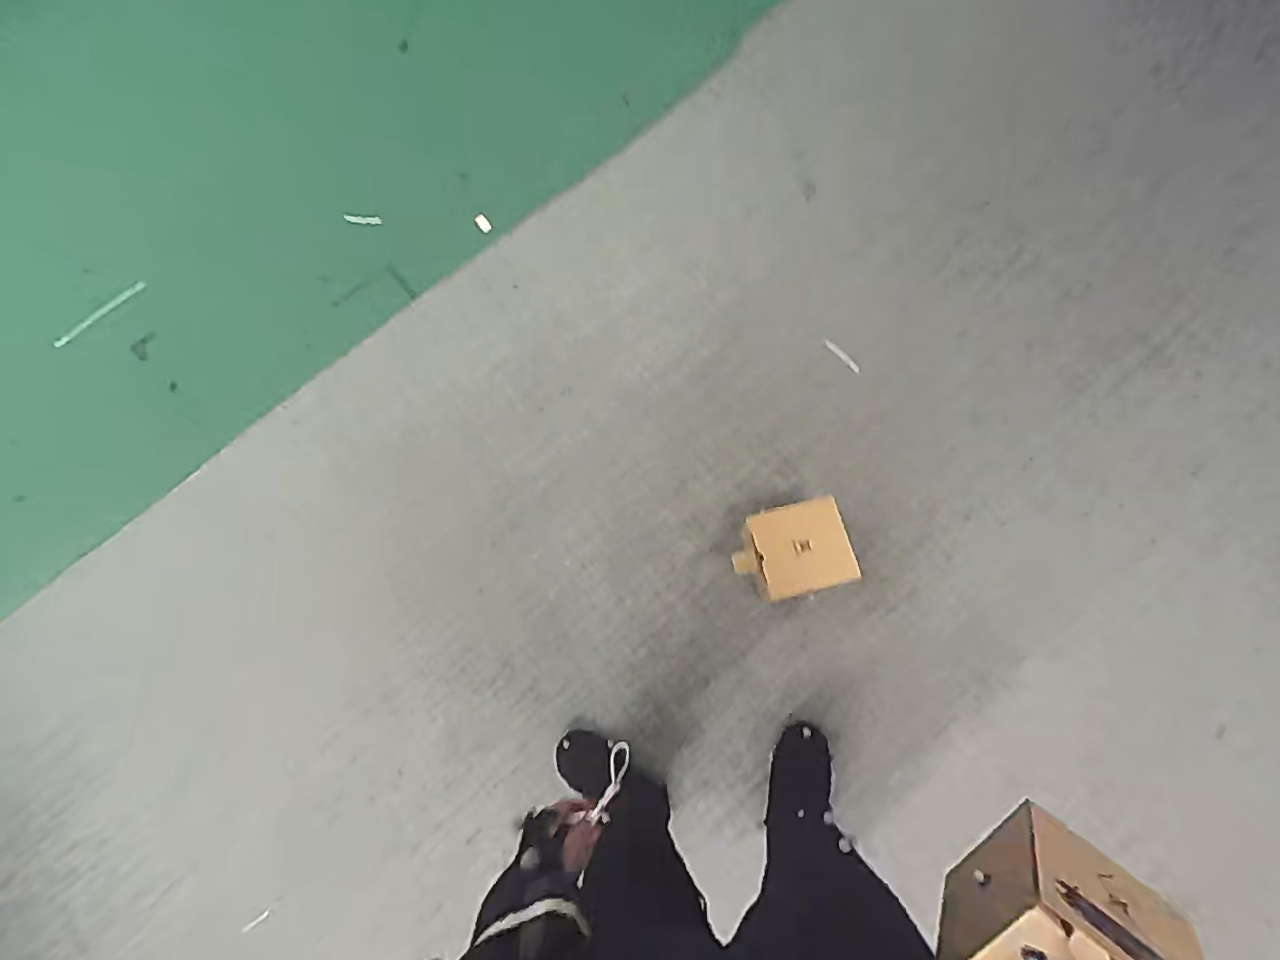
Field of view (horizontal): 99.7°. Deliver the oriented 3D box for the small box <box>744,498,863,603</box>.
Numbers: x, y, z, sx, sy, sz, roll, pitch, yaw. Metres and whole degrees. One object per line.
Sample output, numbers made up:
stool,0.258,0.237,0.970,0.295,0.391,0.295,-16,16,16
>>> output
small box,0.322,0.149,1.099,0.179,0.176,0.168,-15,74,3
